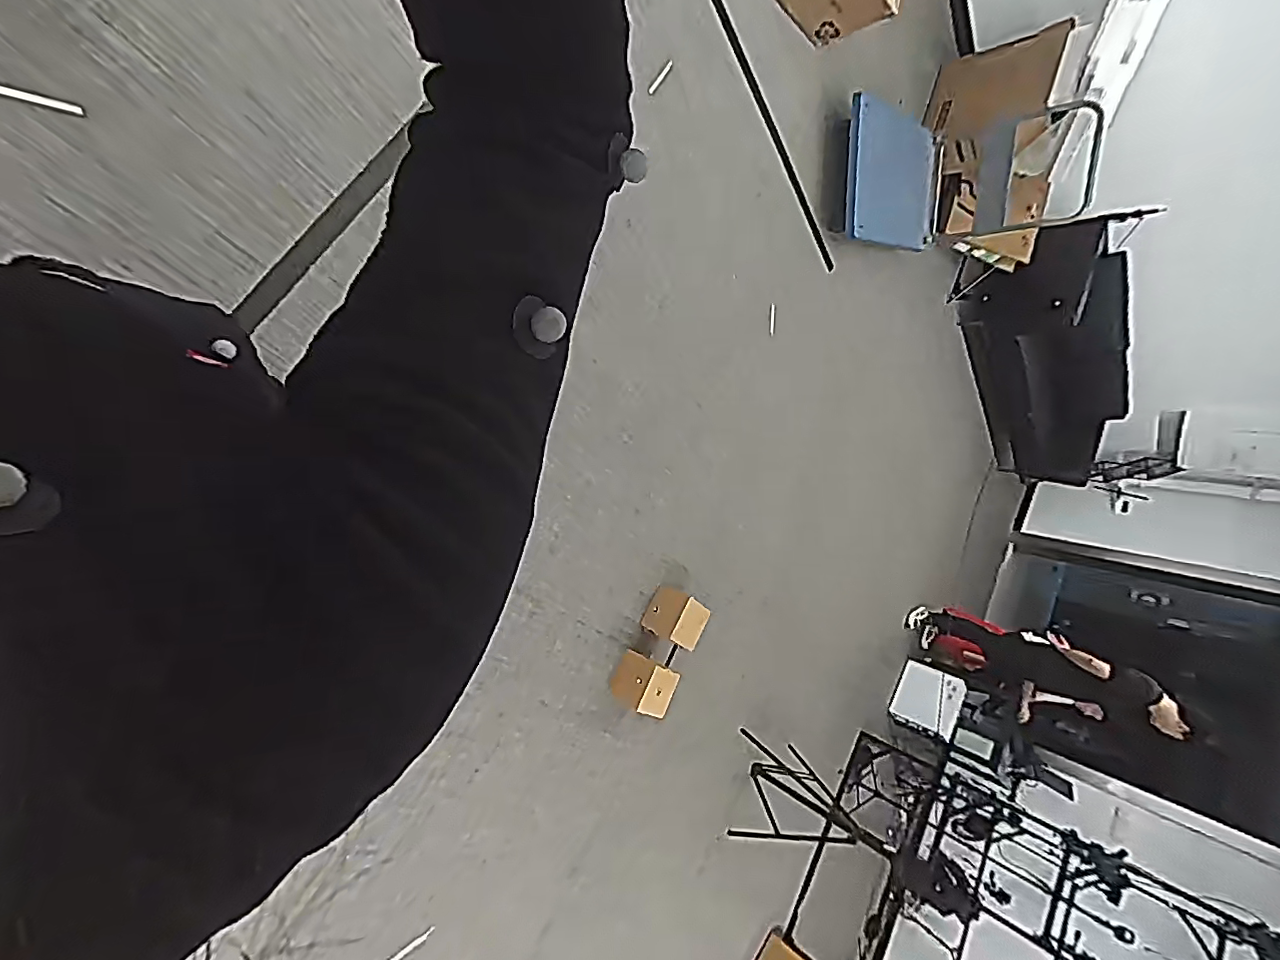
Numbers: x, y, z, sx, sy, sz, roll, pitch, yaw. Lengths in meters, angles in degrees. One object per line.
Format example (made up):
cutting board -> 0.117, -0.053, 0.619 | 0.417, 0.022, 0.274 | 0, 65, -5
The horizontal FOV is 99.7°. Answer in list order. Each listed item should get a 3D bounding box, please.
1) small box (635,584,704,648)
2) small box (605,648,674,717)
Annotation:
small box -> 0.118, 0.539, 2.121 | 0.168, 0.176, 0.179 | 44, 69, -40
small box -> -0.009, 0.768, 2.054 | 0.168, 0.176, 0.179 | 37, 73, -43
